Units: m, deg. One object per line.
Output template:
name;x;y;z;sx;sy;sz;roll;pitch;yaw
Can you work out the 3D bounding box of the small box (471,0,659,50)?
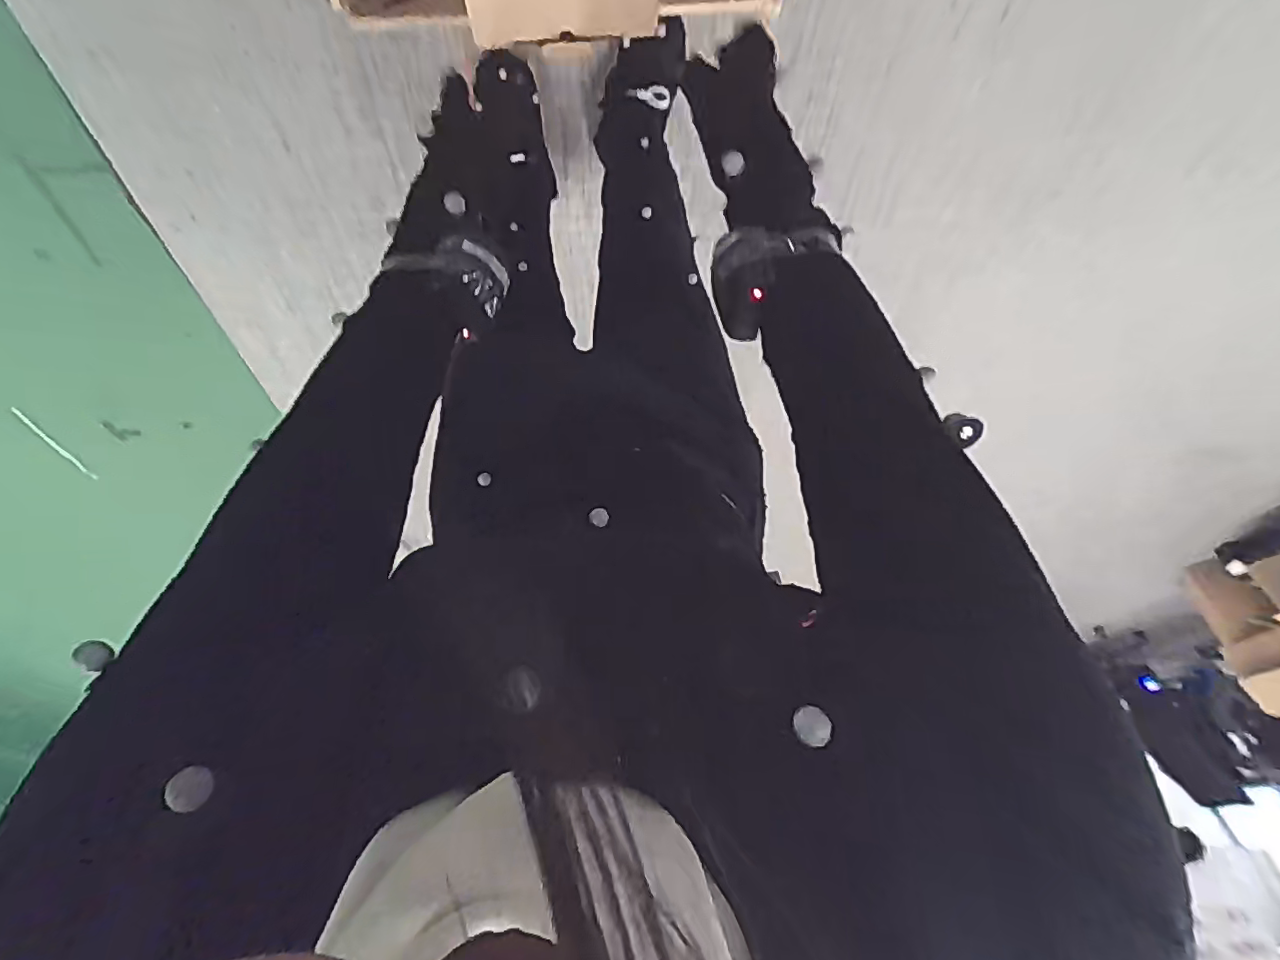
small box;-0.071;-0.513;0.471;0.168;0.176;0.179;-5;143;-1
